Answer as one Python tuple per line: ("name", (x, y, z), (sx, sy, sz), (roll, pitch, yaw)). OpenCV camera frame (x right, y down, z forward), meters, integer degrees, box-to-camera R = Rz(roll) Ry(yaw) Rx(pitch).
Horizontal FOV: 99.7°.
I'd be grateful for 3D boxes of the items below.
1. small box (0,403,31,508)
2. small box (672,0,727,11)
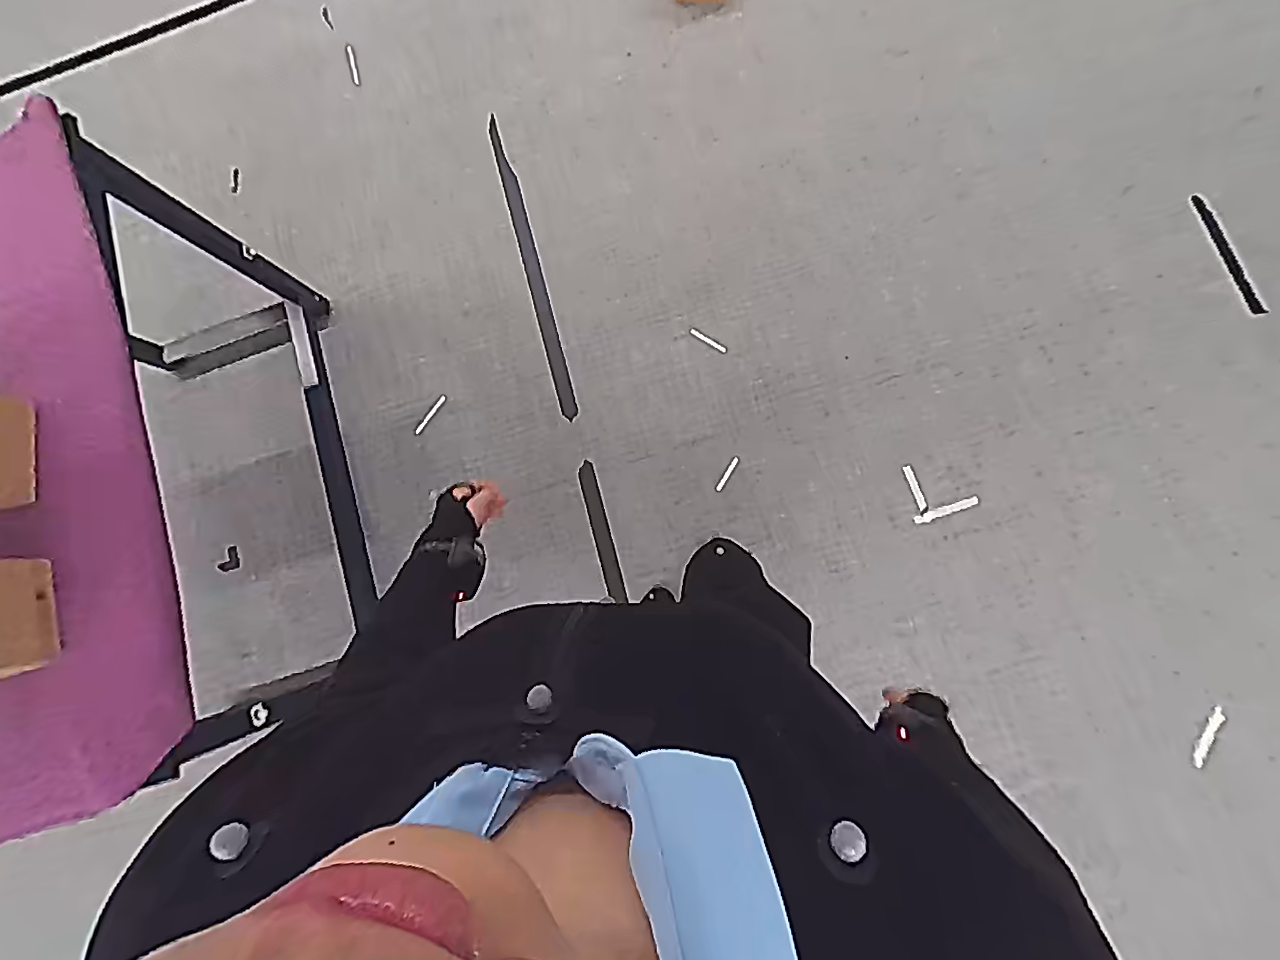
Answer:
("small box", (-1.107, -0.040, 0.831), (0.168, 0.176, 0.179), (-10, 81, 4))
("small box", (0.191, -1.599, 1.667), (0.179, 0.176, 0.168), (8, 83, 7))
